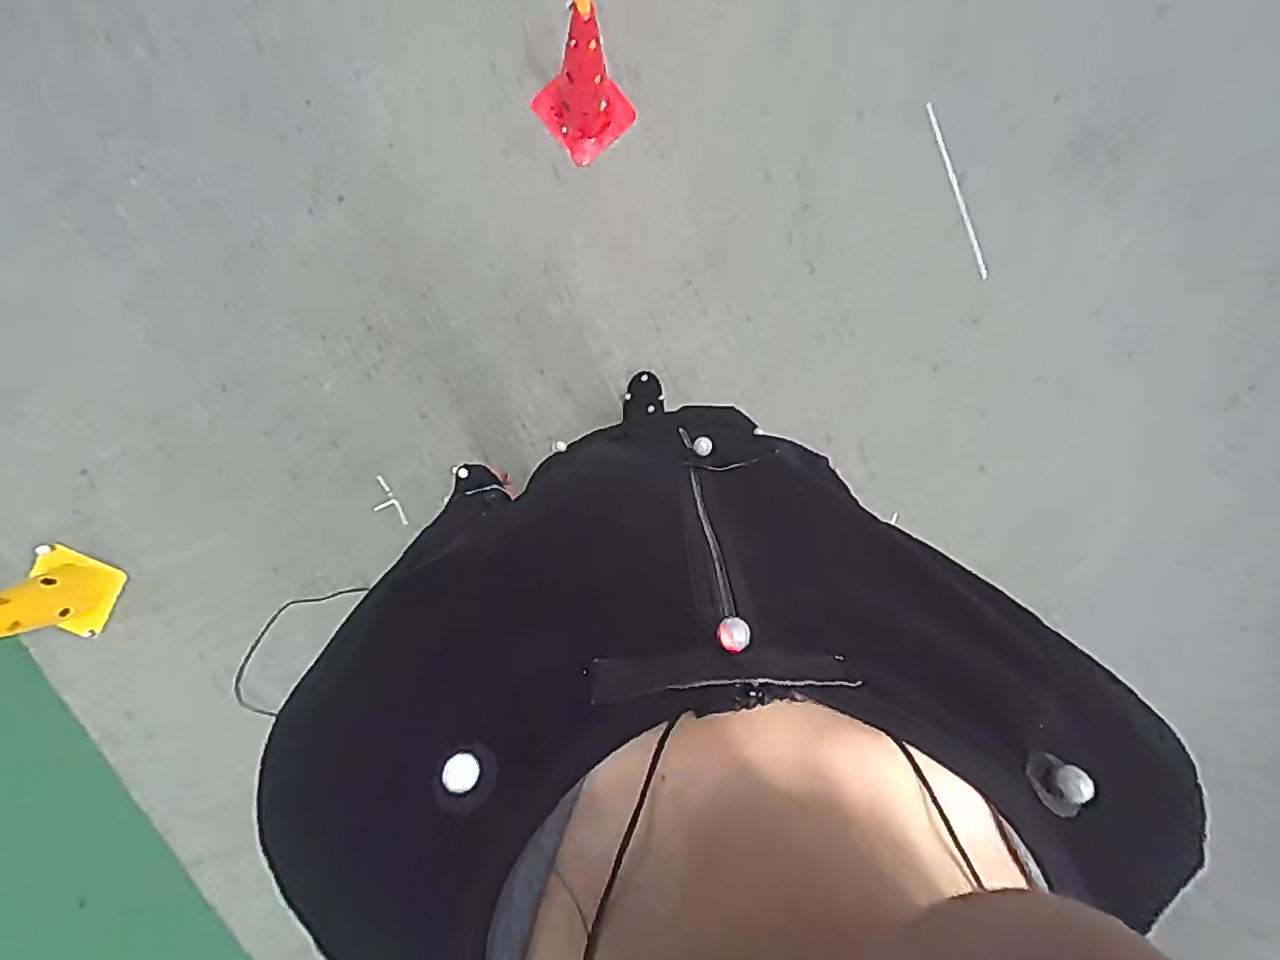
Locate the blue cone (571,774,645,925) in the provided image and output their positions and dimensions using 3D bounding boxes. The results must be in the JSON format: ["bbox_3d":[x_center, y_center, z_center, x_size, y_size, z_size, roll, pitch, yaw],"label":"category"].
[{"bbox_3d":[-0.068,0.982,1.432,0.193,0.380,0.192,19,94,-10],"label":"blue cone"}]
